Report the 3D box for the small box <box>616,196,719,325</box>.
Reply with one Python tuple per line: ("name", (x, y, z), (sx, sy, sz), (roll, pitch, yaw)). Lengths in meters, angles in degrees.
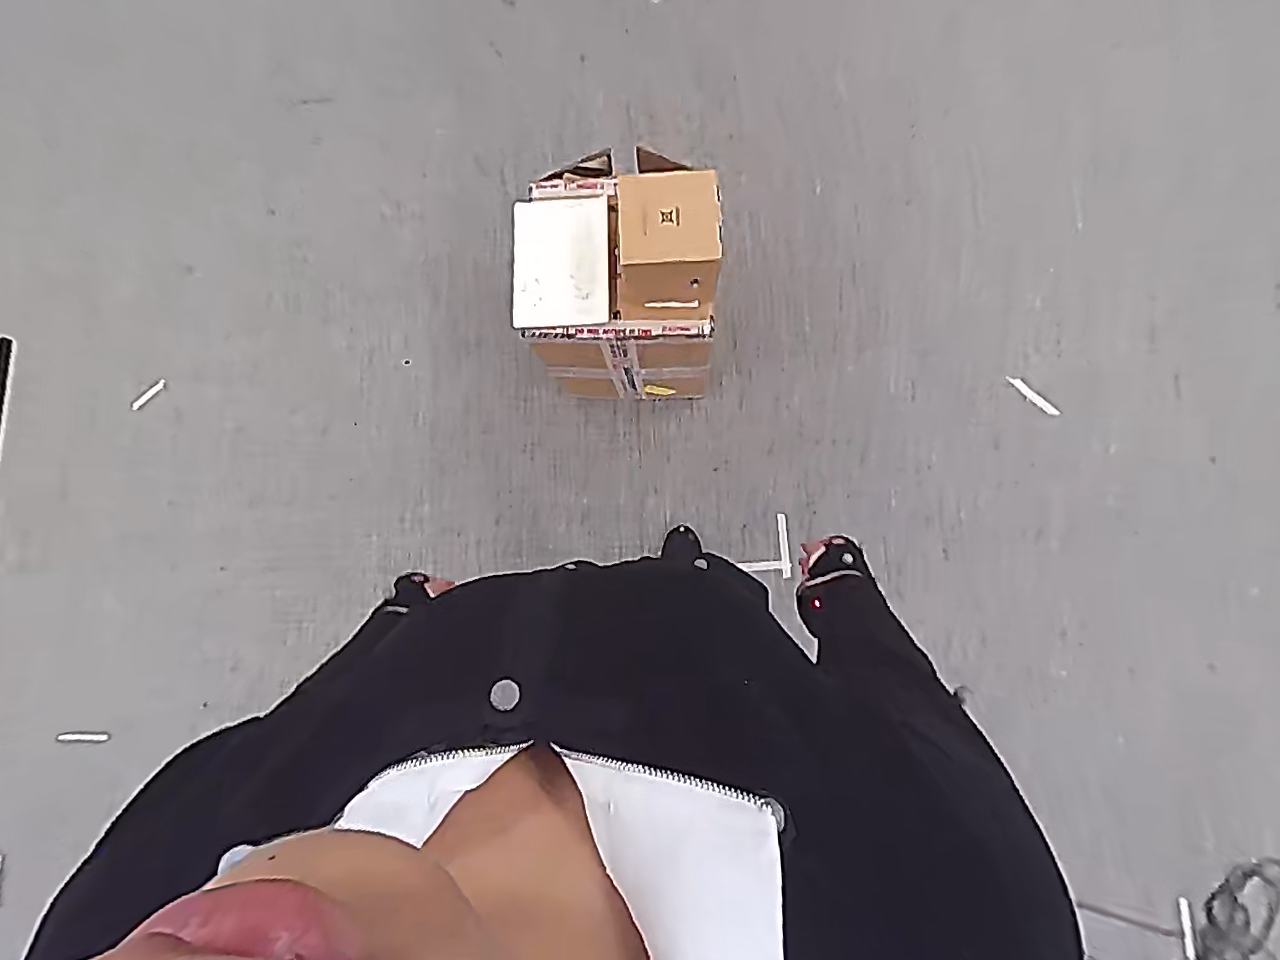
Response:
("small box", (0.050, -0.404, 1.019), (0.179, 0.176, 0.168), (-3, 84, 3))
